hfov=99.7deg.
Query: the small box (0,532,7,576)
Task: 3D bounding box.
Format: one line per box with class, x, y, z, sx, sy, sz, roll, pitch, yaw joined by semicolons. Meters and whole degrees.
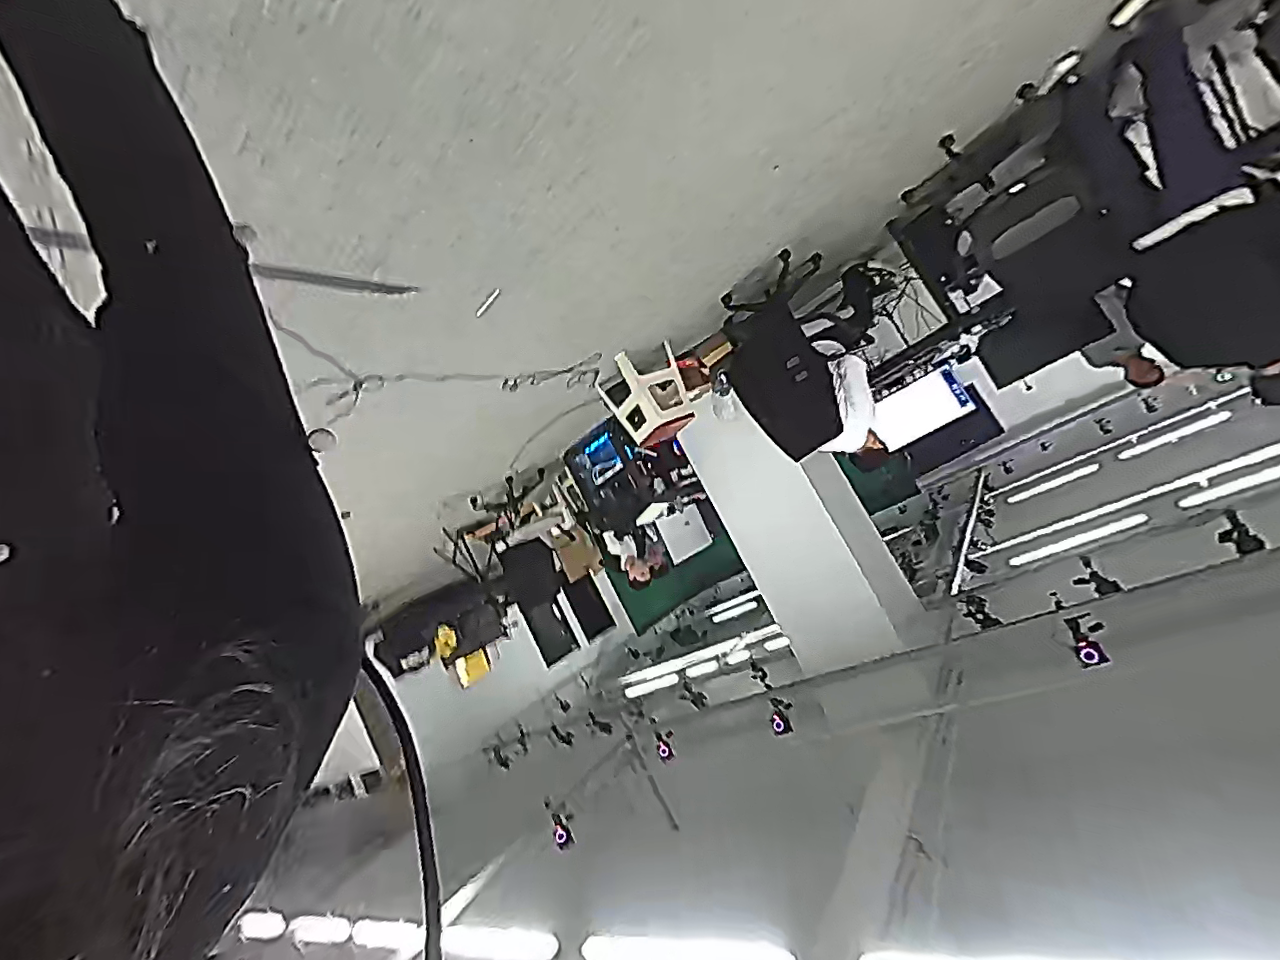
small box;-1.606;0.140;1.246;0.179;0.176;0.168;-33;171;37
